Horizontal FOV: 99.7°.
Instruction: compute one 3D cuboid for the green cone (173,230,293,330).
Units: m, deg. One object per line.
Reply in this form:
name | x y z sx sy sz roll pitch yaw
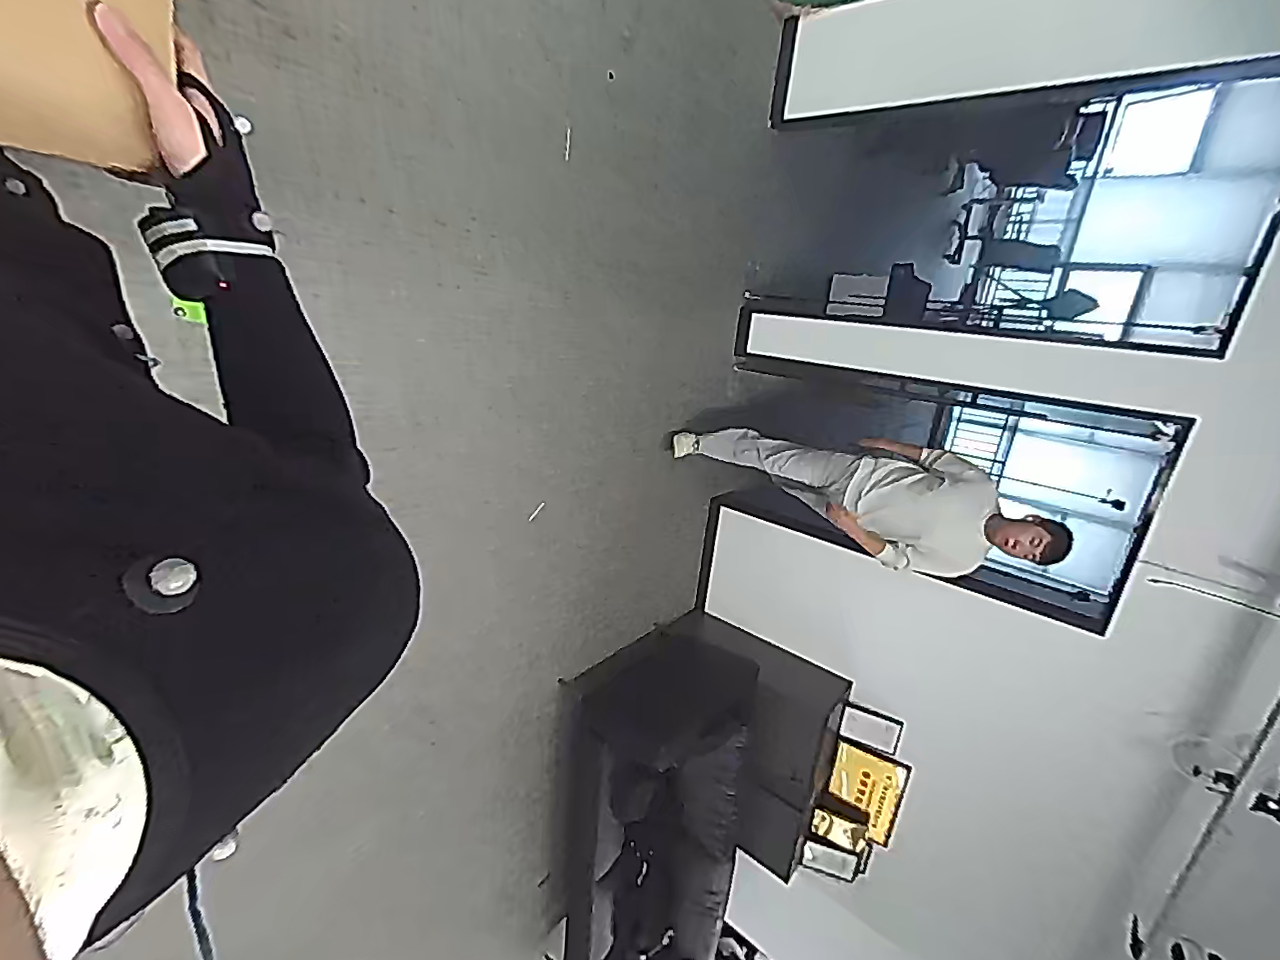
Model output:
green cone | -0.862 -0.432 1.203 0.200 0.368 0.202 -7 110 -52
